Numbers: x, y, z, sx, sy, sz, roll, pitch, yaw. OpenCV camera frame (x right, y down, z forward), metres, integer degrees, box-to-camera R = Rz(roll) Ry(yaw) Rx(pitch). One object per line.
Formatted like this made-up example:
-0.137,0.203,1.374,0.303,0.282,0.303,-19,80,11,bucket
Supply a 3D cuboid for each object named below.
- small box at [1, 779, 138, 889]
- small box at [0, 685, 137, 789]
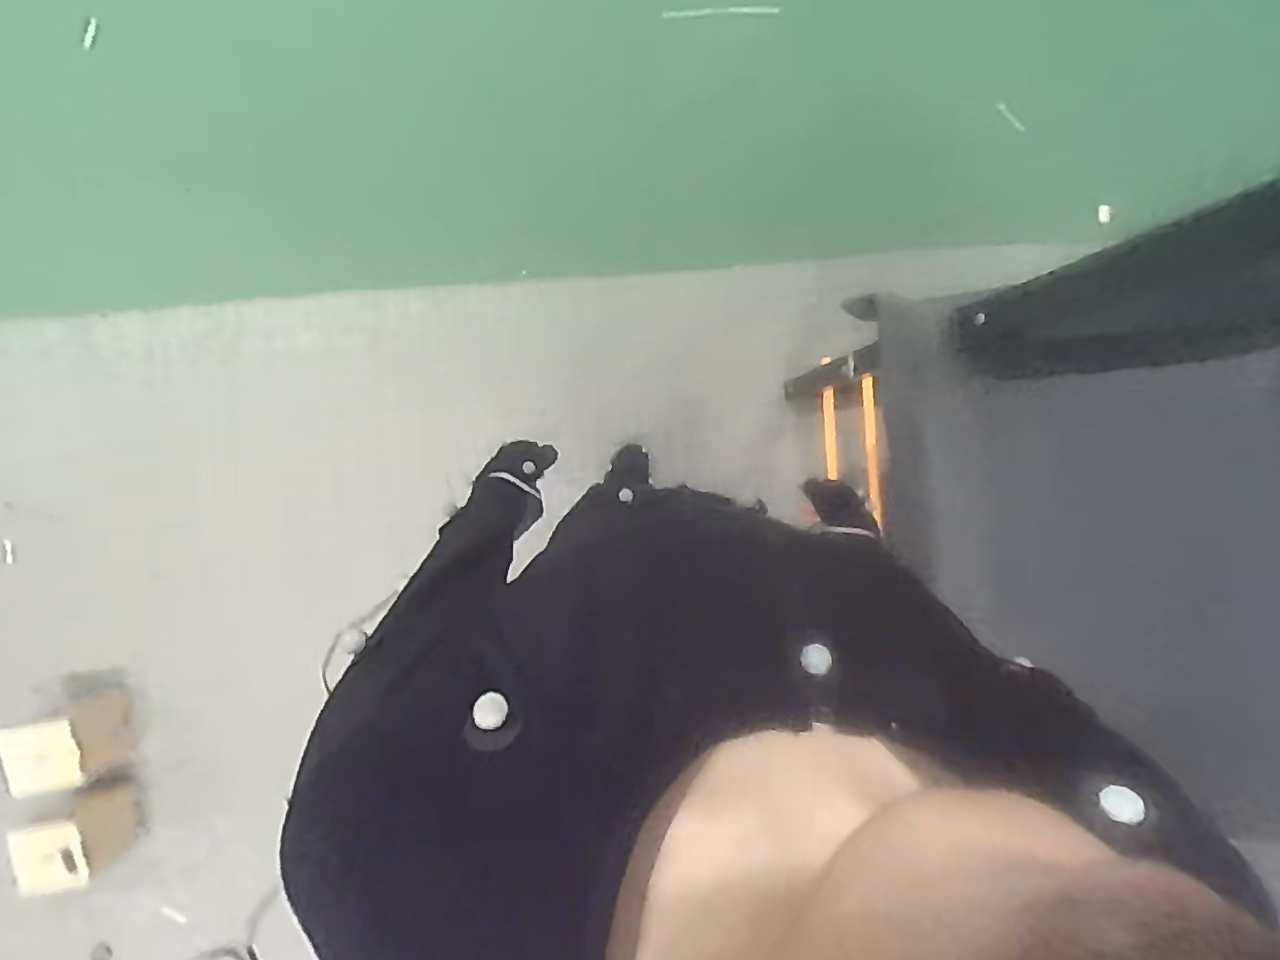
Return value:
-1.458,0.904,1.399,0.179,0.176,0.168,-8,94,-1,small box
-1.462,0.649,1.383,0.179,0.176,0.168,-11,95,-3,small box
